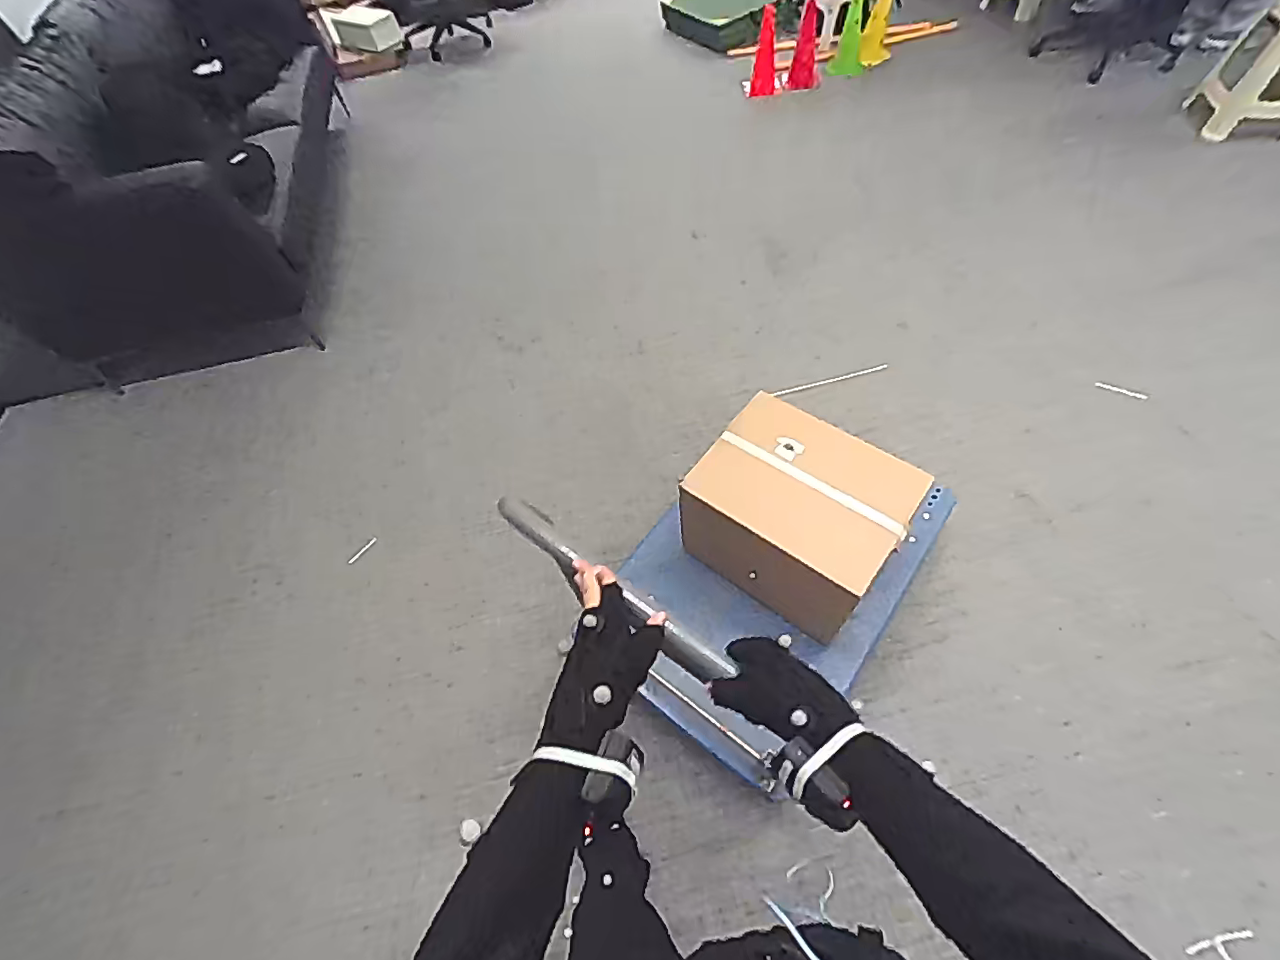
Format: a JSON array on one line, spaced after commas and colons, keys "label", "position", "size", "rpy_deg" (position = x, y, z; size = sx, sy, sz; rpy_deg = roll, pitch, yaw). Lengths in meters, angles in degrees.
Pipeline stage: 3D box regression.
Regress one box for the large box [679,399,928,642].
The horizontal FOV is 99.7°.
[{"label": "large box", "position": [0.345, 0.092, 1.218], "size": [0.408, 0.320, 0.320], "rpy_deg": [32, 65, 25]}]
